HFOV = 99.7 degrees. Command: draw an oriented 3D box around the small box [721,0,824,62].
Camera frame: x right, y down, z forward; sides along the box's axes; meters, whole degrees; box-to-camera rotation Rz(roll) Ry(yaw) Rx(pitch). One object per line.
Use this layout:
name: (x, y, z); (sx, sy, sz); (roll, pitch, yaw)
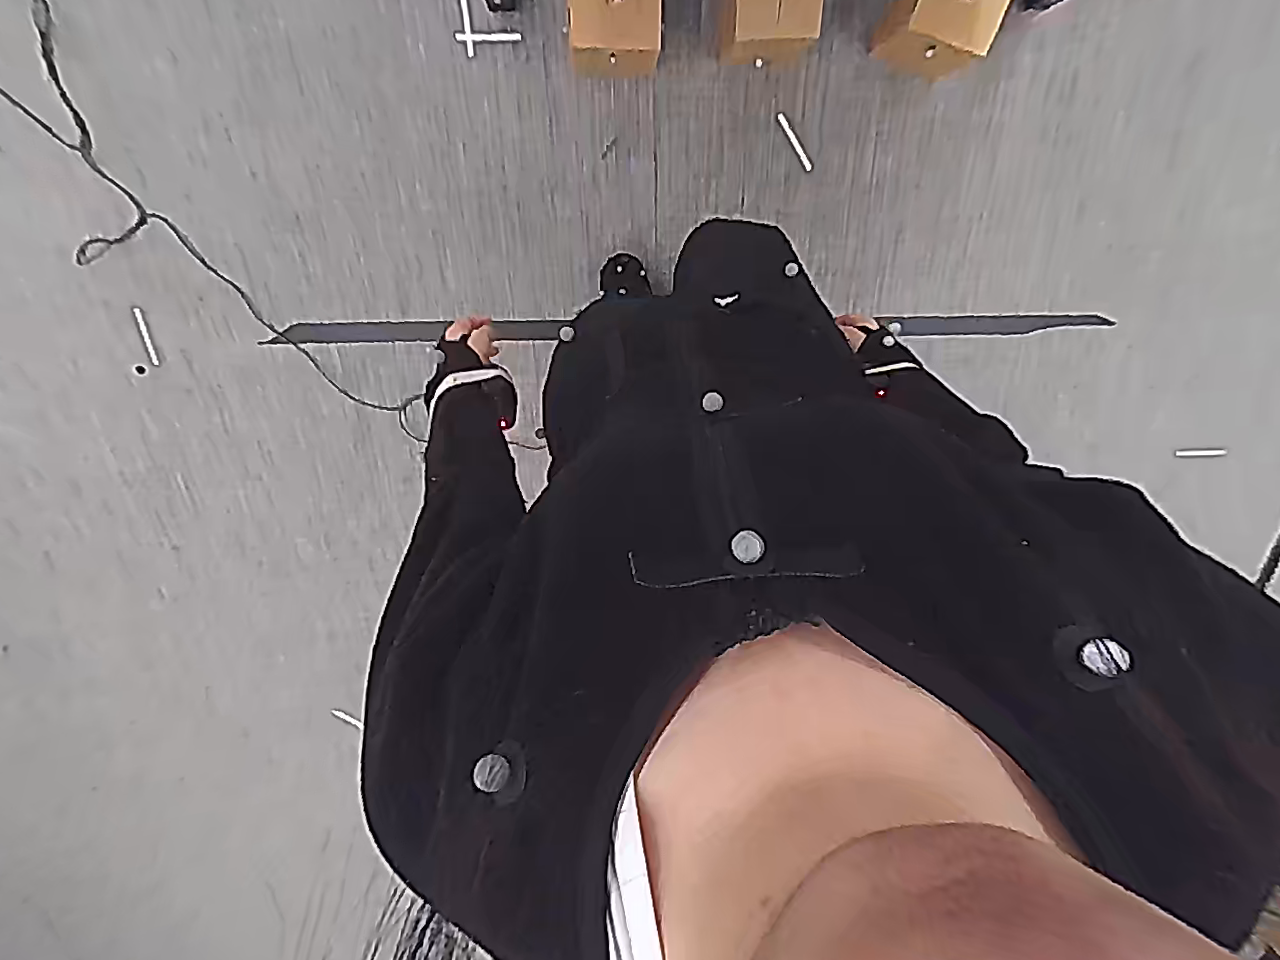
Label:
small box: (0.256, -0.954, 1.062); (0.168, 0.176, 0.179); (-3, 115, -2)

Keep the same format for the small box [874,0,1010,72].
small box: (0.612, -0.955, 1.084); (0.179, 0.176, 0.168); (14, 113, -8)
